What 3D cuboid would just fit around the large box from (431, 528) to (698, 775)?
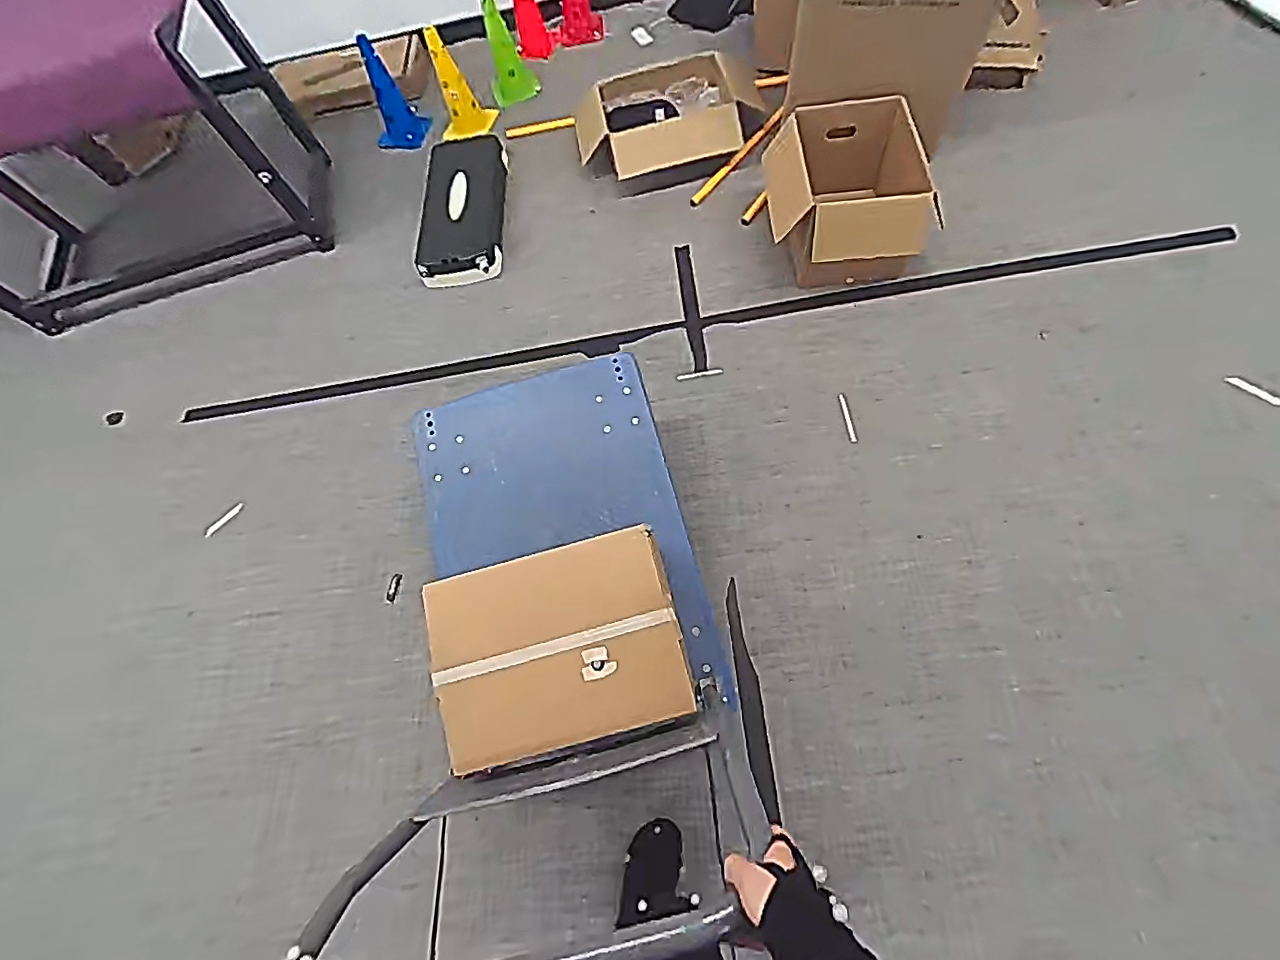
[{"bbox_3d":[-0.126,0.314,1.045,0.408,0.320,0.320,-15,77,0],"label":"large box"}]
